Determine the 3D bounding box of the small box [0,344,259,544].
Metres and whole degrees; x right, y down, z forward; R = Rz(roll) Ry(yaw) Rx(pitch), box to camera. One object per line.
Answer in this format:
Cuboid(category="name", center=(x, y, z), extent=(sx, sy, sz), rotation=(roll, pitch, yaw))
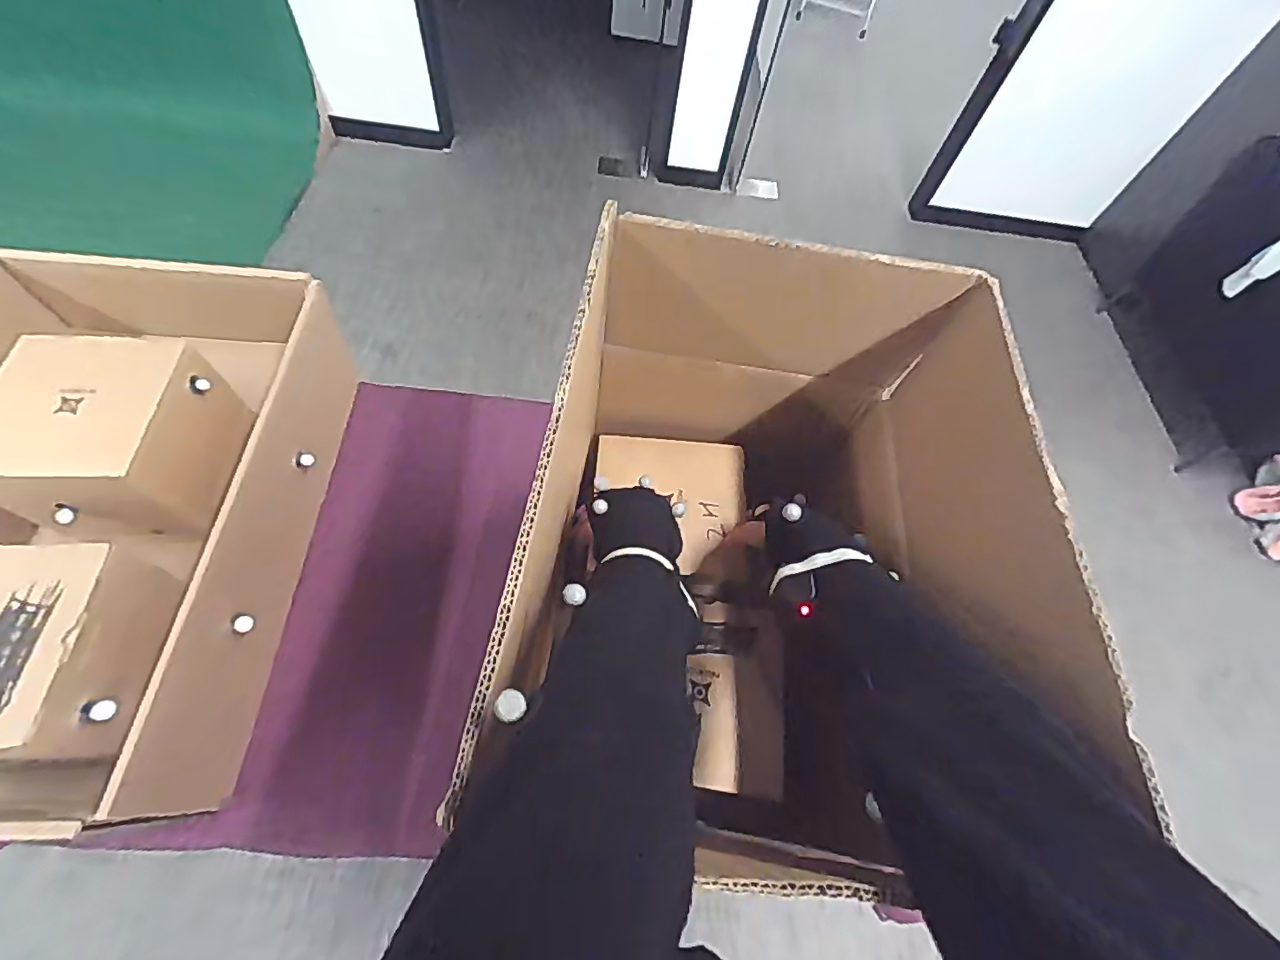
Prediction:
Cuboid(category="small box", center=(-0.580, -0.033, 0.619), extent=(0.168, 0.176, 0.179), rotation=(0, 61, -6))
